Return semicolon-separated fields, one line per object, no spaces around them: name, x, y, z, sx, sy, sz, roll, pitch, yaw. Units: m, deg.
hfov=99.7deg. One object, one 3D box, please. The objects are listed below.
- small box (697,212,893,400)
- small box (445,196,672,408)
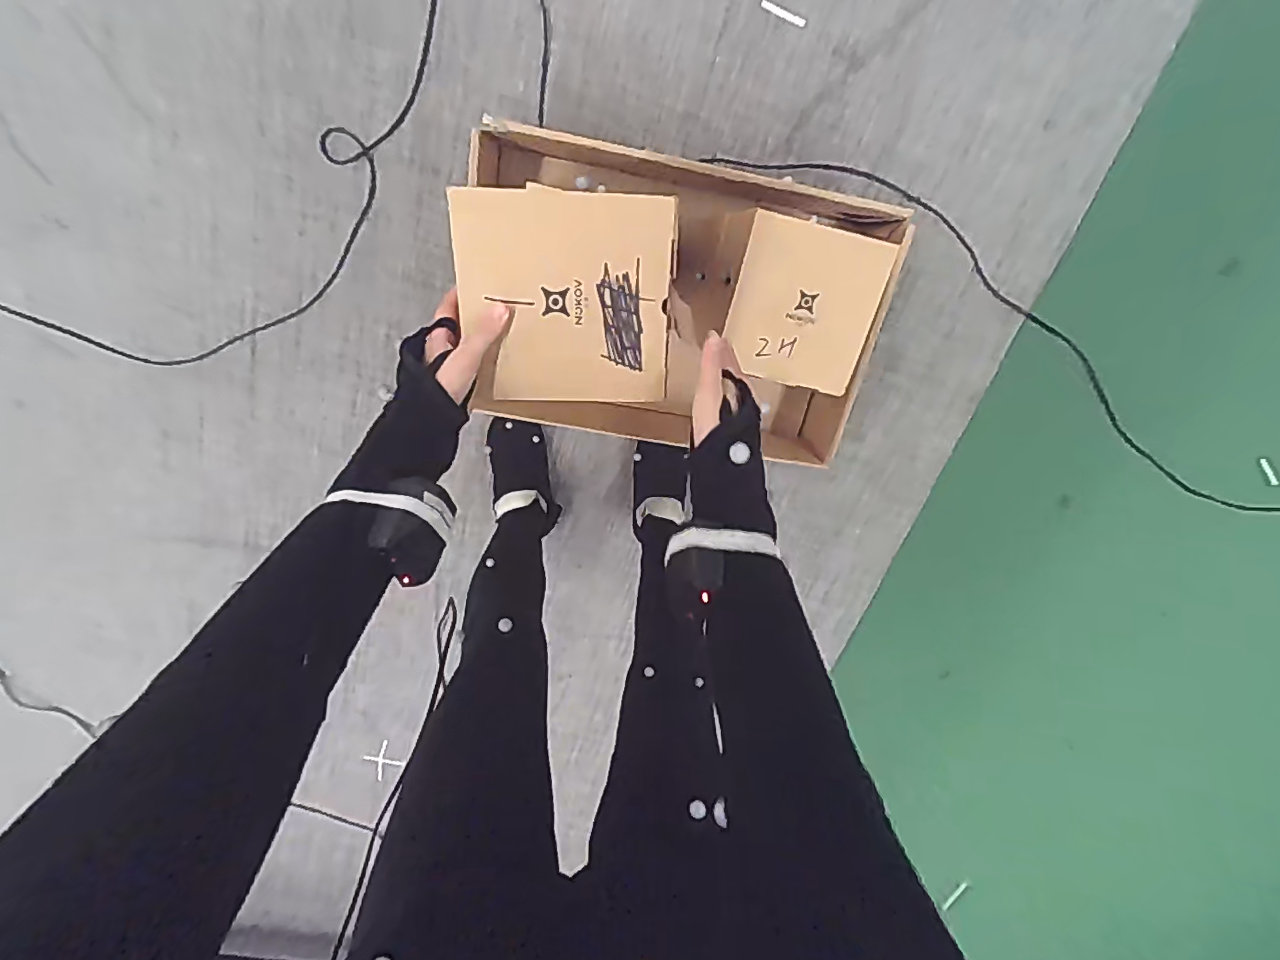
small box;0.177;-0.222;0.683;0.168;0.176;0.179;12;113;-6
small box;-0.071;-0.173;0.518;0.179;0.176;0.168;0;115;-4
